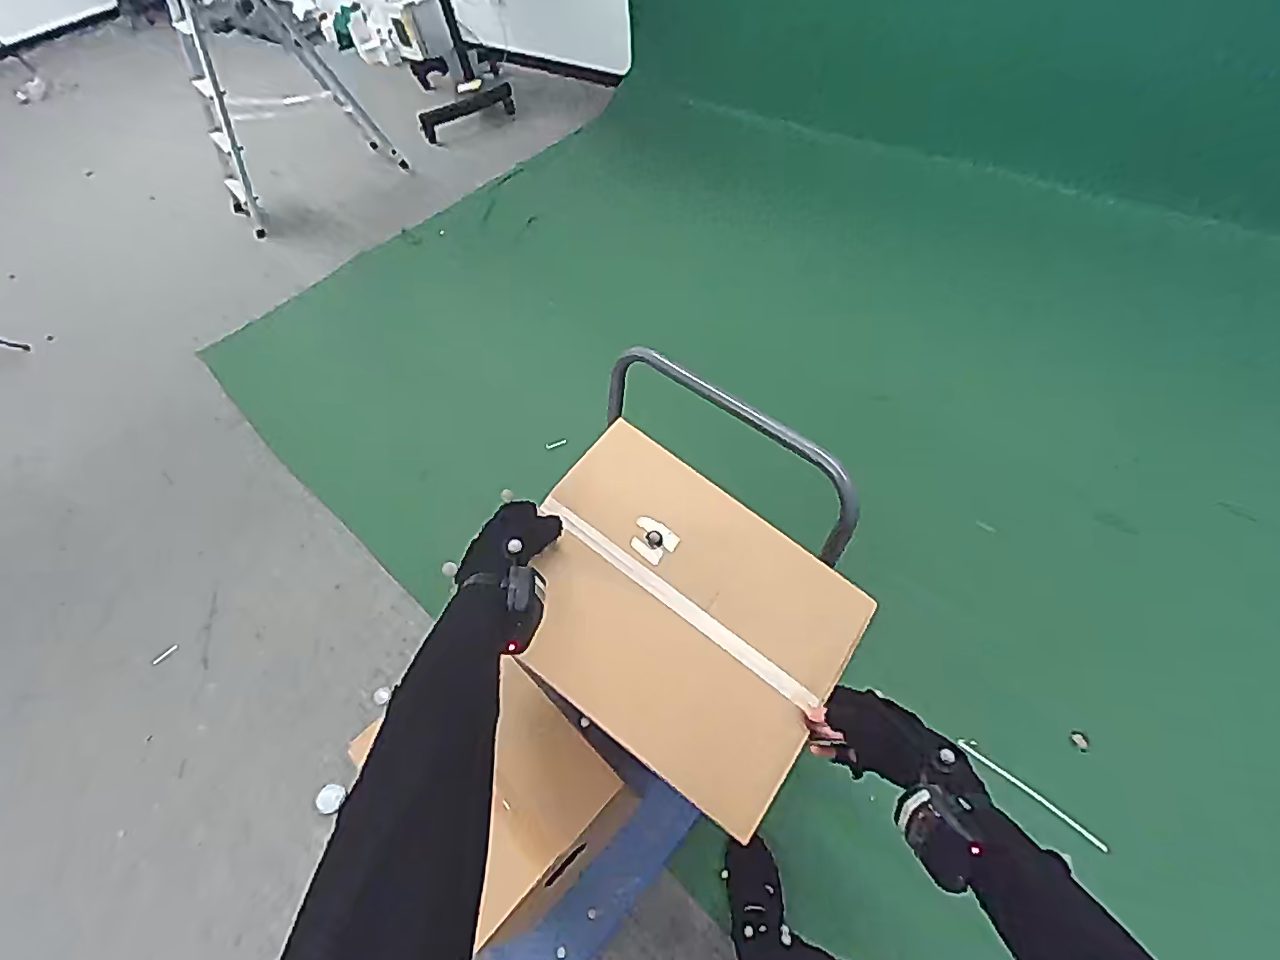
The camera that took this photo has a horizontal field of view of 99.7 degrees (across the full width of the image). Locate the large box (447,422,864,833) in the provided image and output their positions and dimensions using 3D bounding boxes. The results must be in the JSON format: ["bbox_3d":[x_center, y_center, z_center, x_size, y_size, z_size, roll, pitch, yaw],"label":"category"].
[{"bbox_3d":[0.017,0.198,0.771,0.408,0.320,0.320,36,69,9],"label":"large box"}]
